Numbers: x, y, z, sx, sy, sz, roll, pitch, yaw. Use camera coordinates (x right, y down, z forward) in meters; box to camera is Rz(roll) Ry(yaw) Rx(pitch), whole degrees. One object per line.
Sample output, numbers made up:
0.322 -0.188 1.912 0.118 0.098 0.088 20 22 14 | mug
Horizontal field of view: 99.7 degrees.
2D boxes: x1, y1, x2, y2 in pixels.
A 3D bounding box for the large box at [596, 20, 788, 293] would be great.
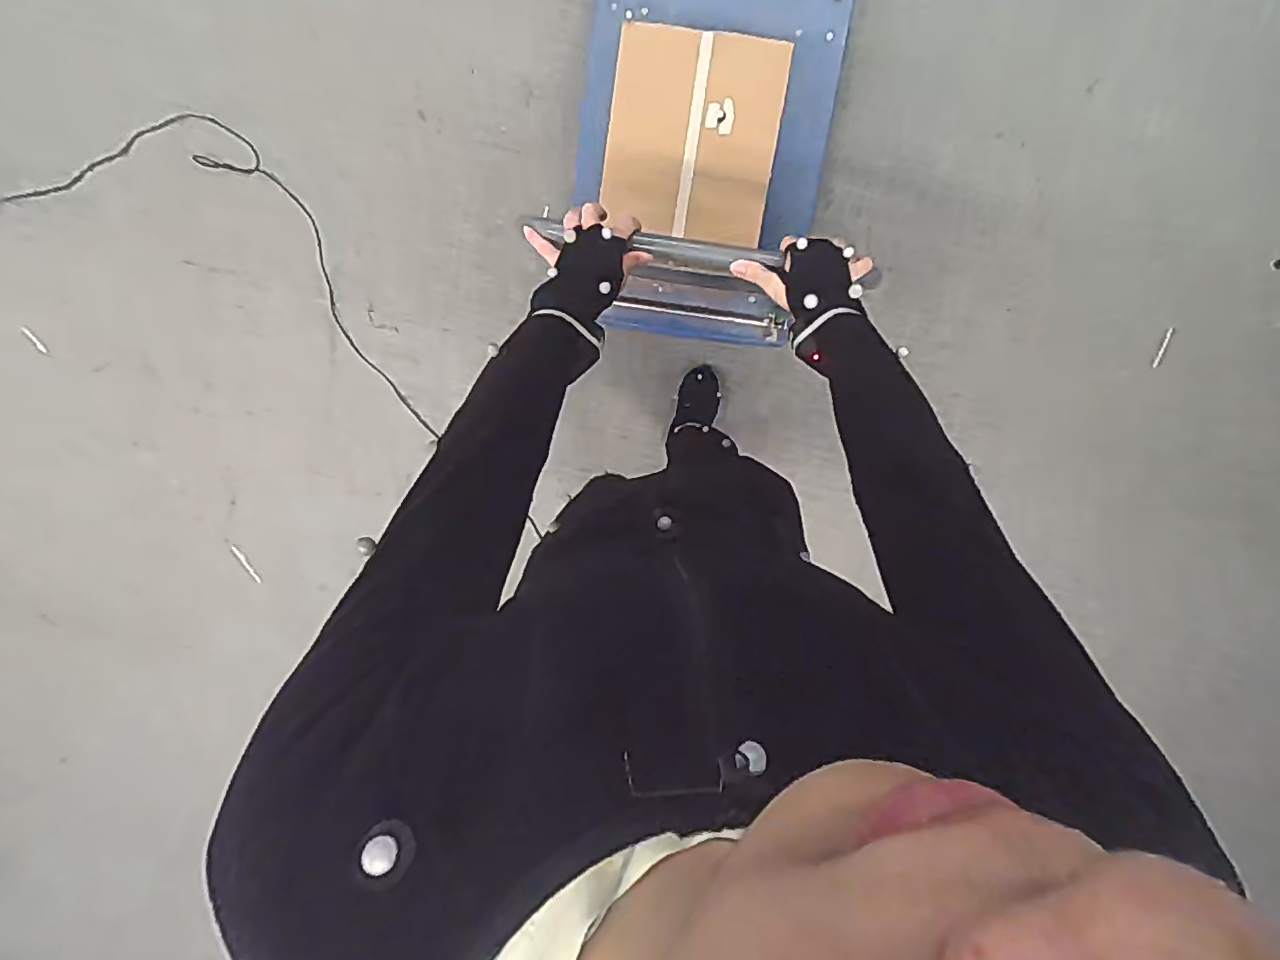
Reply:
0.098 -0.643 1.154 0.320 0.320 0.408 9 100 0 | large box
